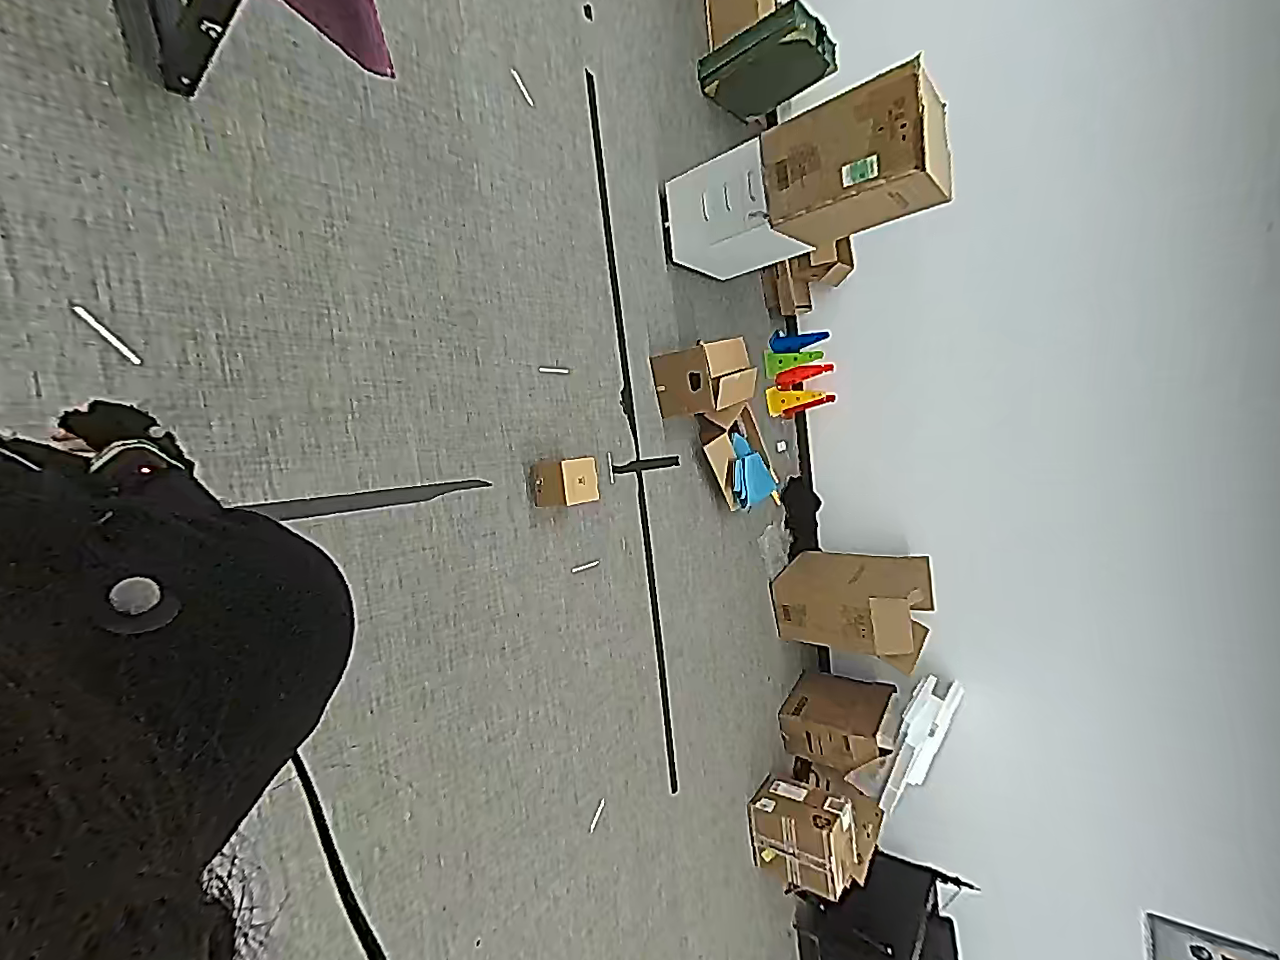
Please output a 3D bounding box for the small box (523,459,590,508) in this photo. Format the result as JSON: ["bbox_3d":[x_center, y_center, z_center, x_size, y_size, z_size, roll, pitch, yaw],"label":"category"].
[{"bbox_3d":[-0.315,0.013,2.031,0.179,0.176,0.168,-10,94,-51],"label":"small box"}]
